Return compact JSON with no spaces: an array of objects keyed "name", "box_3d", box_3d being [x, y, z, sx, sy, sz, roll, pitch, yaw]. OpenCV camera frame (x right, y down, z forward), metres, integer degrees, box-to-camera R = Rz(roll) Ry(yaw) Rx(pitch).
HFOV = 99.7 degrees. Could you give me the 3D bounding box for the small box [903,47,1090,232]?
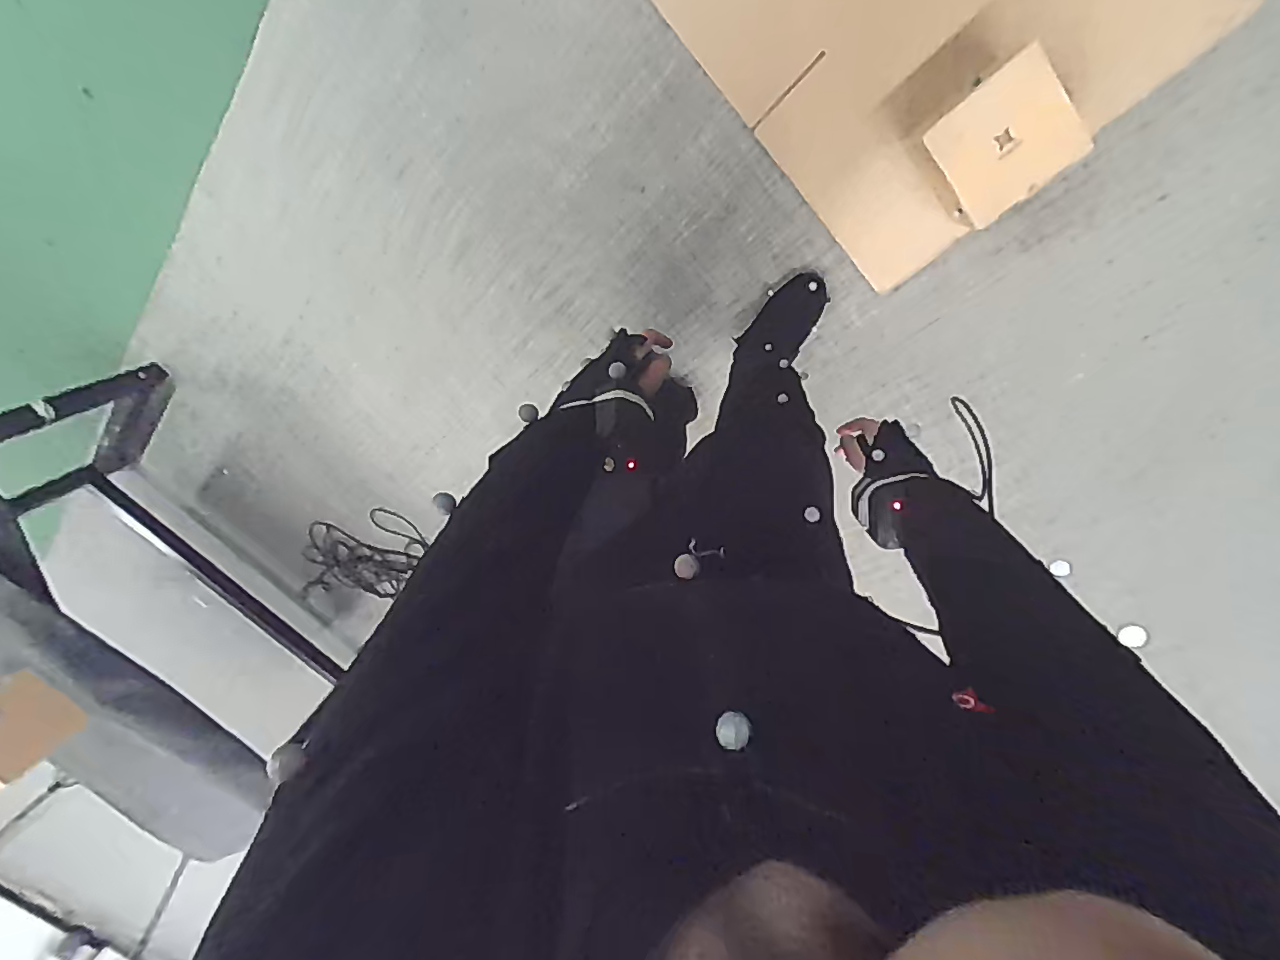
[{"name":"small box","box_3d":[0.548,-0.526,0.859,0.168,0.176,0.179,-35,106,29]}]
